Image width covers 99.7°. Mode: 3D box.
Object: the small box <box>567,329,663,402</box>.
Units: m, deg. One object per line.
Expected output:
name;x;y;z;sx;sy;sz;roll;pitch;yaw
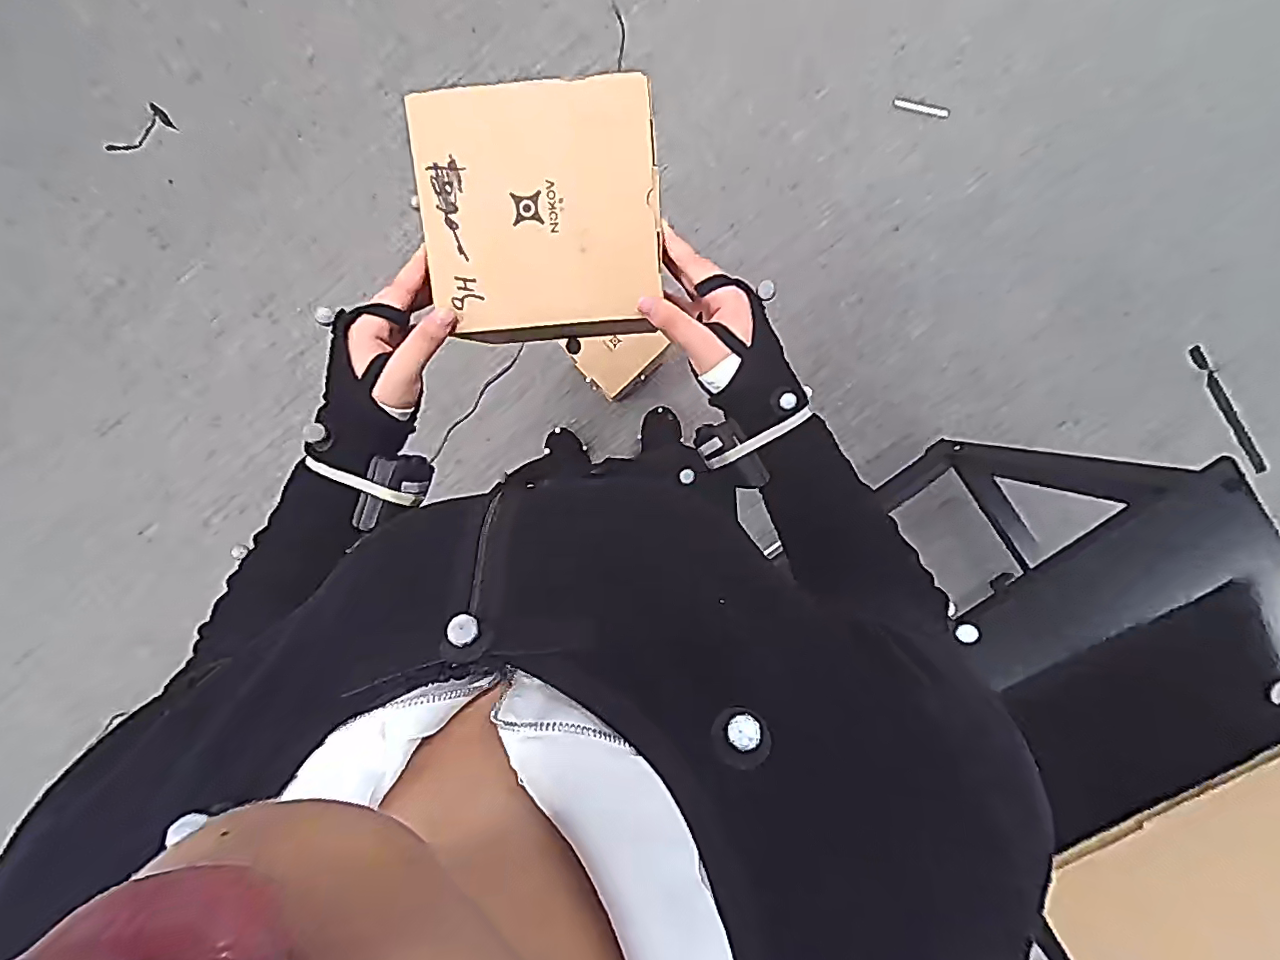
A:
small box;-0.060;-0.317;1.374;0.179;0.176;0.168;-40;95;6

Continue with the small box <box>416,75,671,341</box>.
small box;-0.071;-0.217;0.476;0.179;0.176;0.168;-4;100;0
